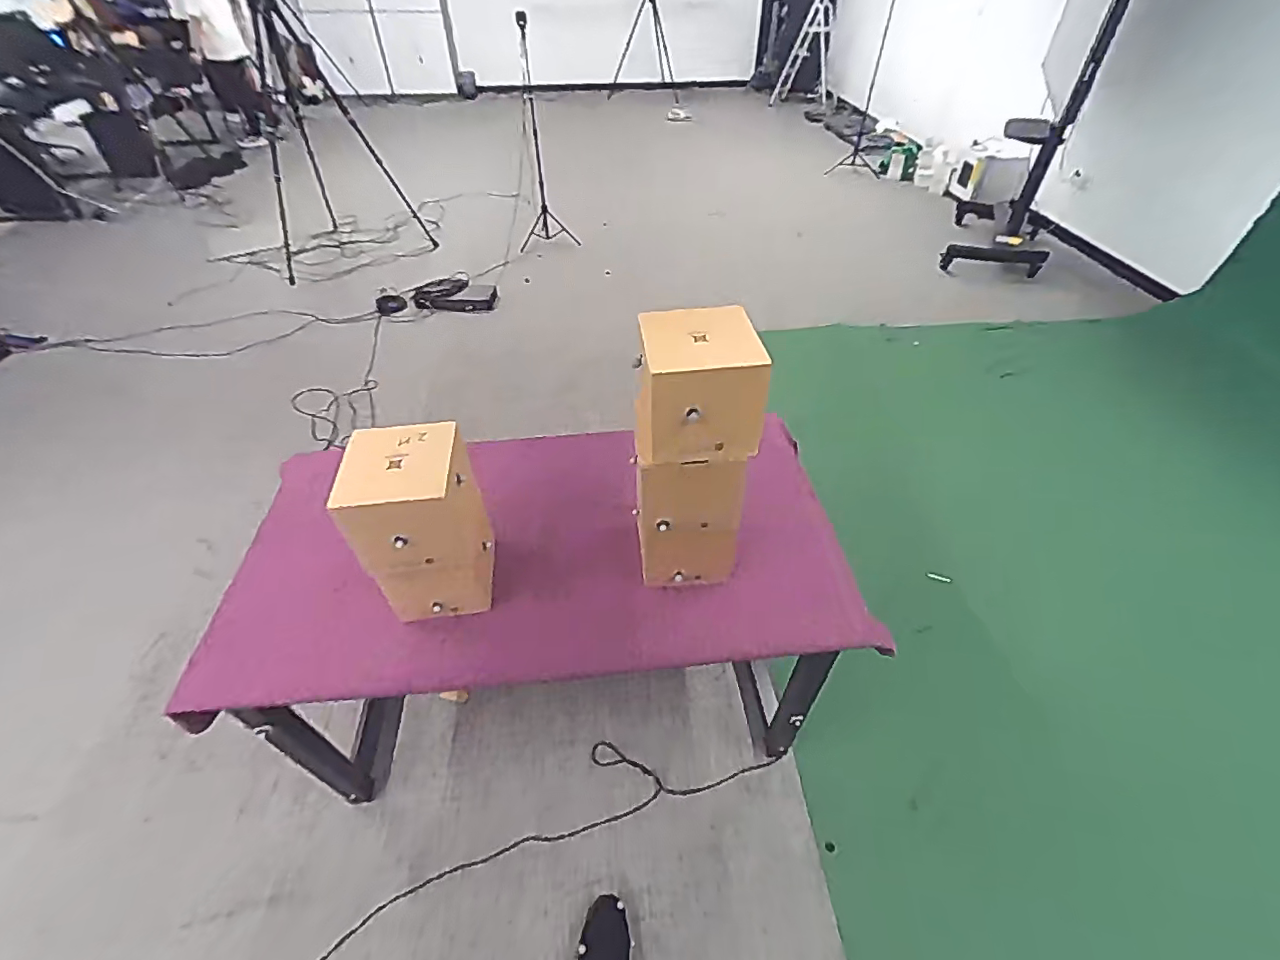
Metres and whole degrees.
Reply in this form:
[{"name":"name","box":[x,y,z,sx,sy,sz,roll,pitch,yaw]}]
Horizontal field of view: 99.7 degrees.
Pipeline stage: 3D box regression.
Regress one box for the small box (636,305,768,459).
[{"name":"small box","box":[0.086,-0.144,0.823,0.168,0.176,0.179,-6,43,-3]}]

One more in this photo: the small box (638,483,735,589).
[{"name":"small box","box":[0.082,0.089,1.051,0.168,0.176,0.179,-4,45,-2]}]

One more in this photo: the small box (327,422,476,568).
[{"name":"small box","box":[-0.371,0.029,0.880,0.168,0.176,0.179,-5,45,-5]}]

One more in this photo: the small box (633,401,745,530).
[{"name":"small box","box":[0.079,-0.026,0.934,0.168,0.176,0.179,-5,43,-2]}]
